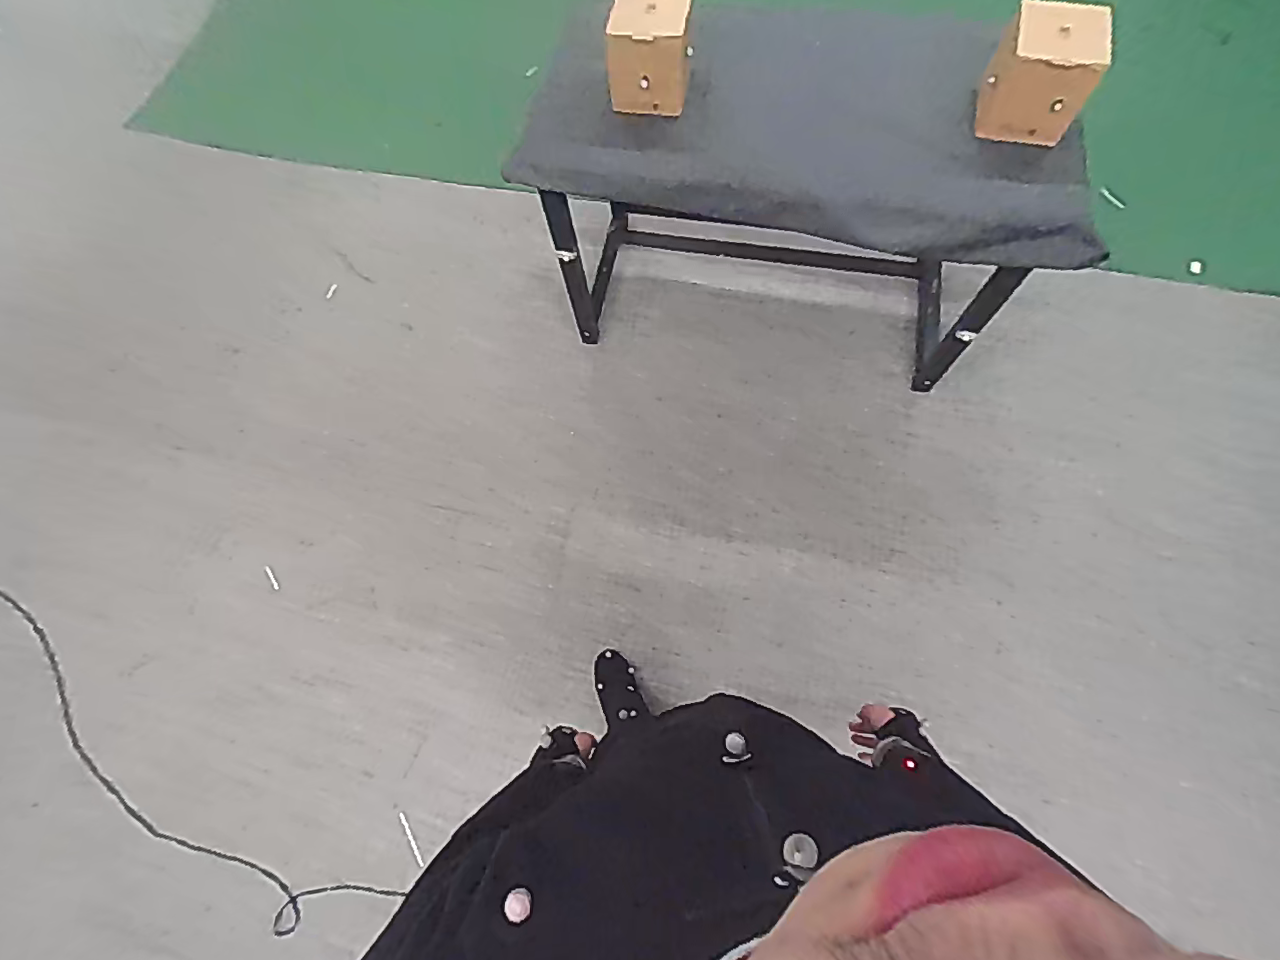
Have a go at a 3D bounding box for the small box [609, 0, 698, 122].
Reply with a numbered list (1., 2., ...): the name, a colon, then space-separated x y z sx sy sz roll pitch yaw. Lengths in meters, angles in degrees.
1. small box: 0.036 -0.954 1.231 0.168 0.176 0.179 10 71 7

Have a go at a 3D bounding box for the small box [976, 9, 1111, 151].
1. small box: 0.825 -0.821 1.121 0.168 0.176 0.179 14 70 8
